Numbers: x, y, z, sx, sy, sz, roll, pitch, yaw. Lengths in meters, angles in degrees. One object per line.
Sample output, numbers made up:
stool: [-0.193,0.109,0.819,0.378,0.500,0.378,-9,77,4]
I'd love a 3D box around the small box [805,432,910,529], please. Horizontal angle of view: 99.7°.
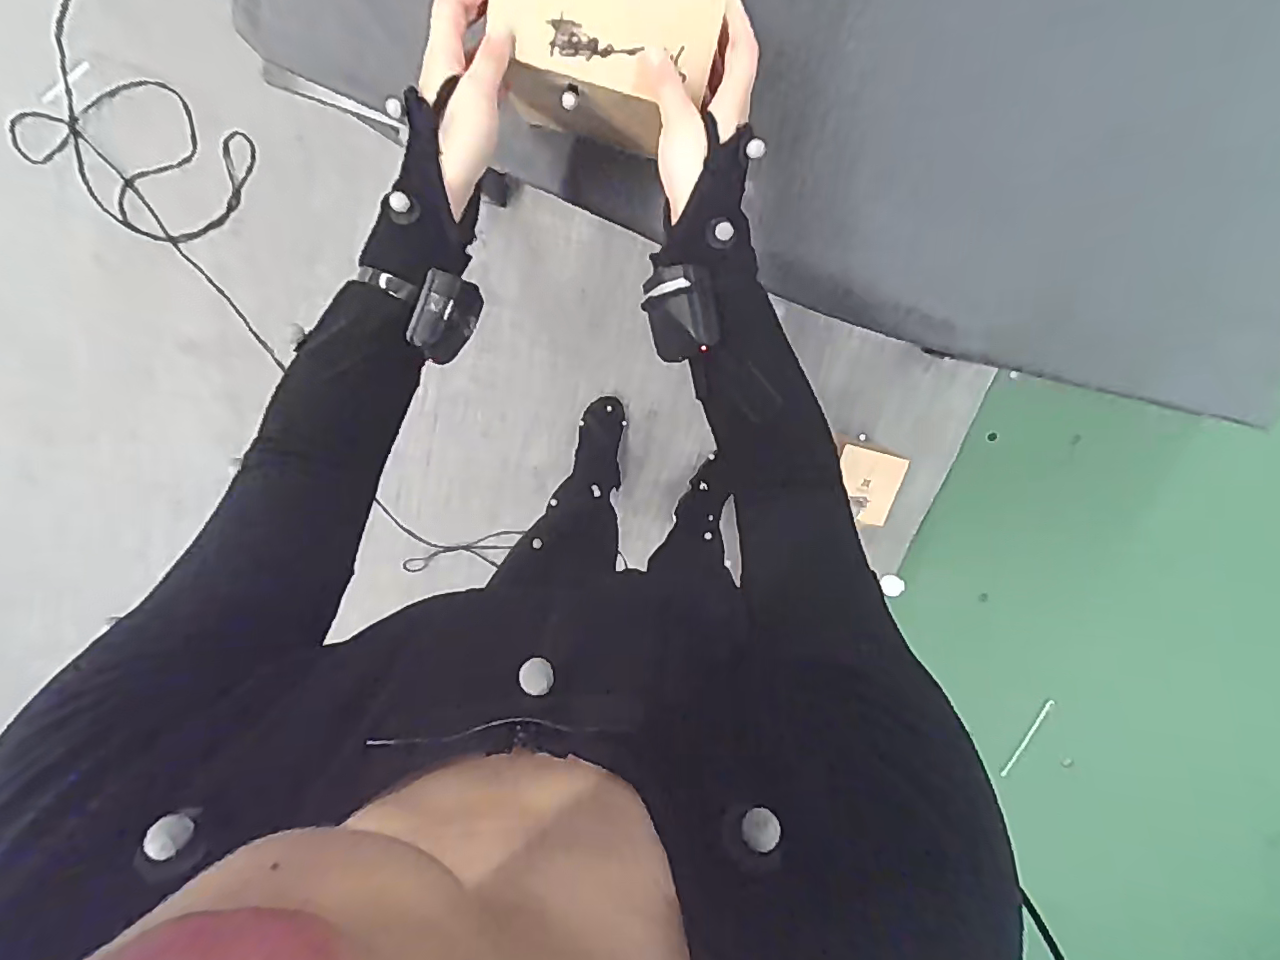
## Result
small box: [0.532,-0.003,1.353,0.168,0.176,0.179,15,106,-5]
